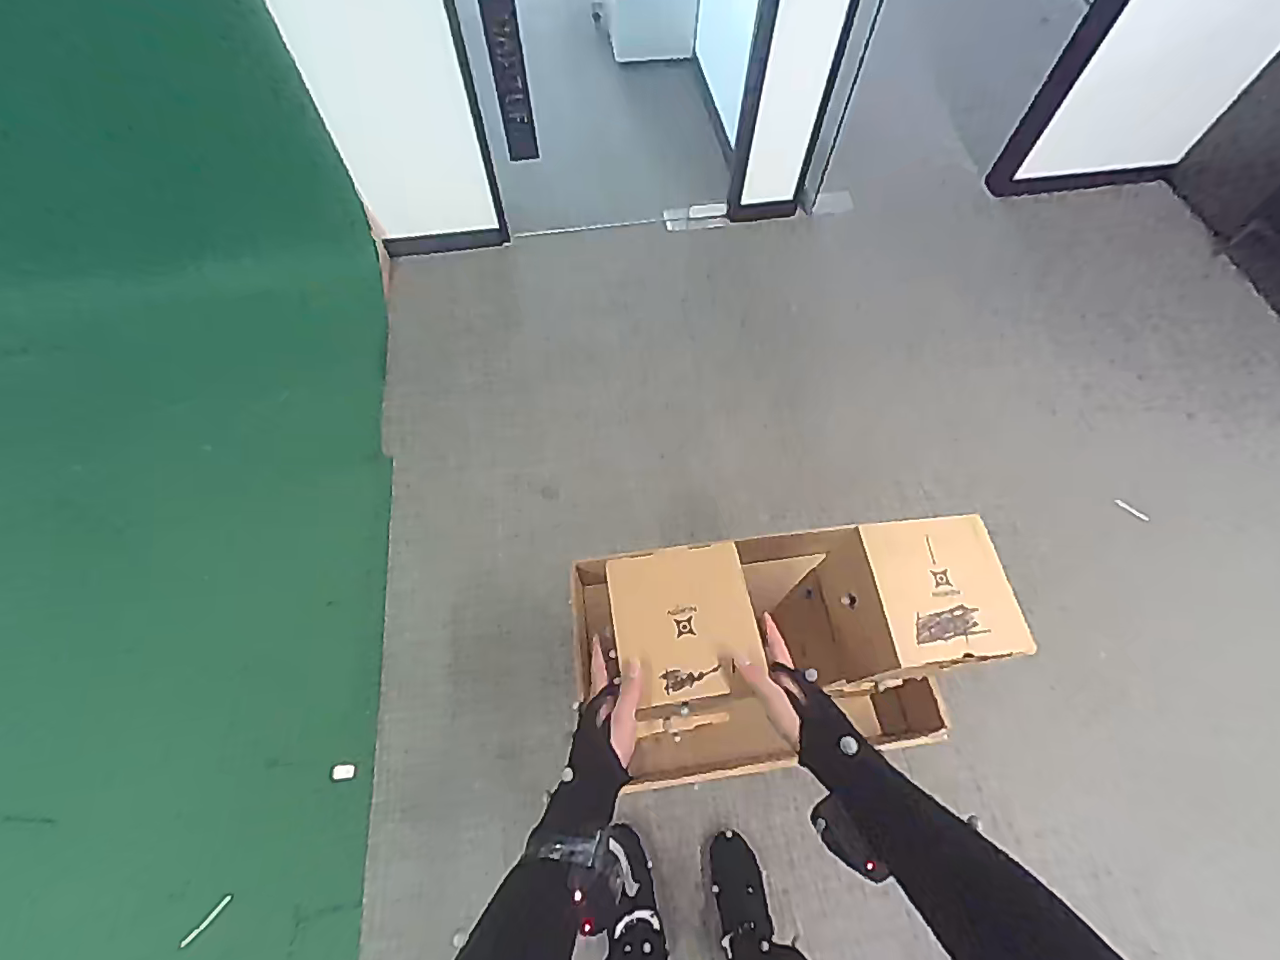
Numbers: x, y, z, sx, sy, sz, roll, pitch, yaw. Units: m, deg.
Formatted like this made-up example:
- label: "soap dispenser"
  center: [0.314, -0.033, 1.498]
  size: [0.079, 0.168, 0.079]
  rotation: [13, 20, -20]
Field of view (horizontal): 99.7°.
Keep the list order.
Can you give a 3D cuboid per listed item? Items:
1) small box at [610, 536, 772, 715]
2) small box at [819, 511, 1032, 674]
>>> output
- label: "small box"
  center: [0.053, 0.193, 0.701]
  size: [0.168, 0.176, 0.179]
  rotation: [-8, 62, -4]
- label: "small box"
  center: [0.359, 0.157, 0.721]
  size: [0.168, 0.176, 0.179]
  rotation: [-4, 63, -4]
